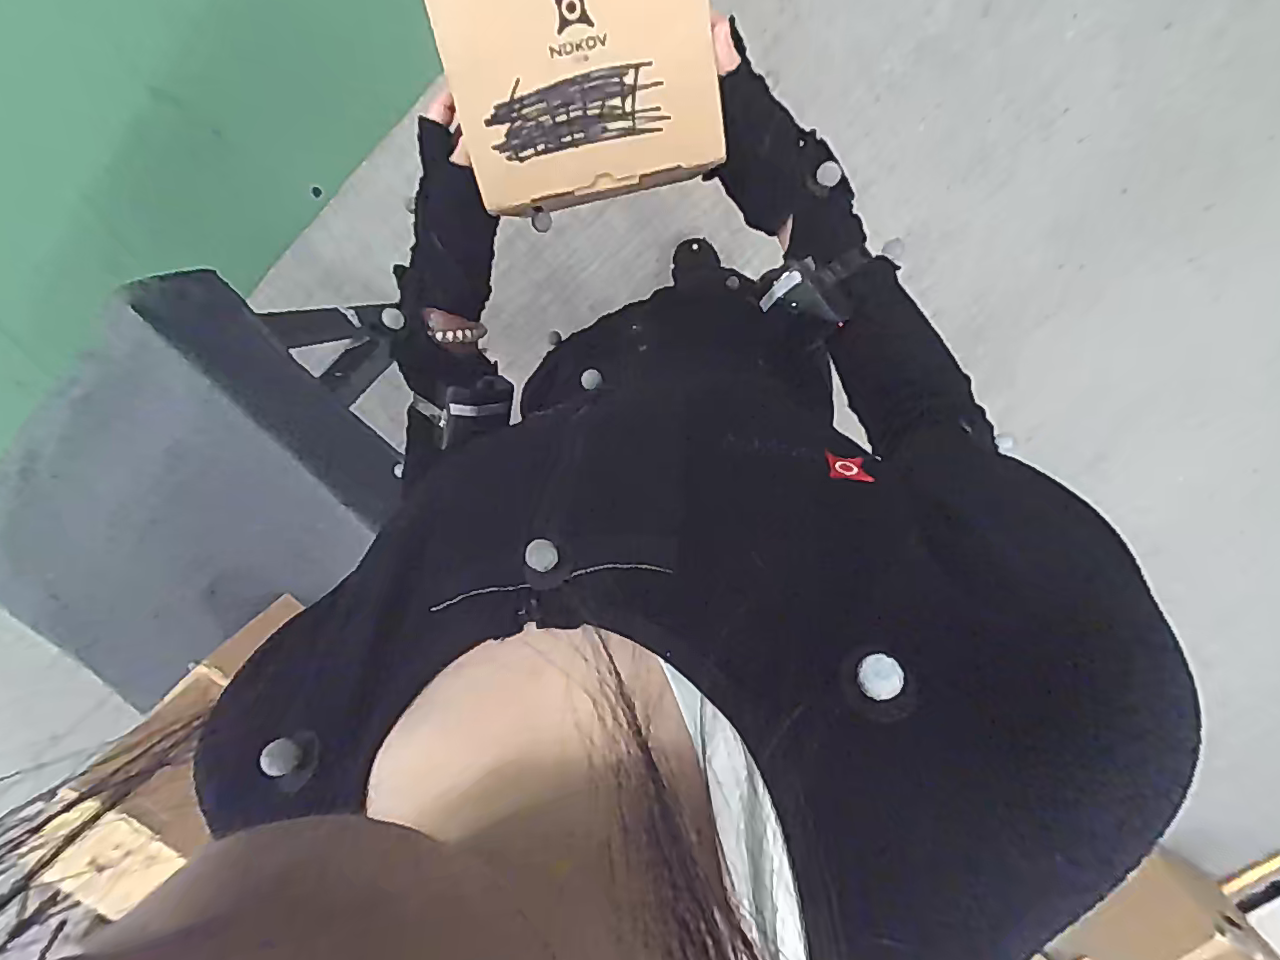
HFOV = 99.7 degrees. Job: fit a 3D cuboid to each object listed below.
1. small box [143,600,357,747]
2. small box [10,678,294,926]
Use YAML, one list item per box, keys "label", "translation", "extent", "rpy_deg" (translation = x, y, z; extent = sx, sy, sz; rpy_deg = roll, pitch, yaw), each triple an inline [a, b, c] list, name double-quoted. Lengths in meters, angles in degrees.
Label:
- label: "small box"
  translation: [-0.571, 0.316, 0.821]
  extent: [0.179, 0.176, 0.168]
  rpy_deg: [-38, 103, 17]
- label: "small box"
  translation: [-0.585, 0.391, 0.674]
  extent: [0.179, 0.176, 0.168]
  rpy_deg: [-40, 103, 16]
